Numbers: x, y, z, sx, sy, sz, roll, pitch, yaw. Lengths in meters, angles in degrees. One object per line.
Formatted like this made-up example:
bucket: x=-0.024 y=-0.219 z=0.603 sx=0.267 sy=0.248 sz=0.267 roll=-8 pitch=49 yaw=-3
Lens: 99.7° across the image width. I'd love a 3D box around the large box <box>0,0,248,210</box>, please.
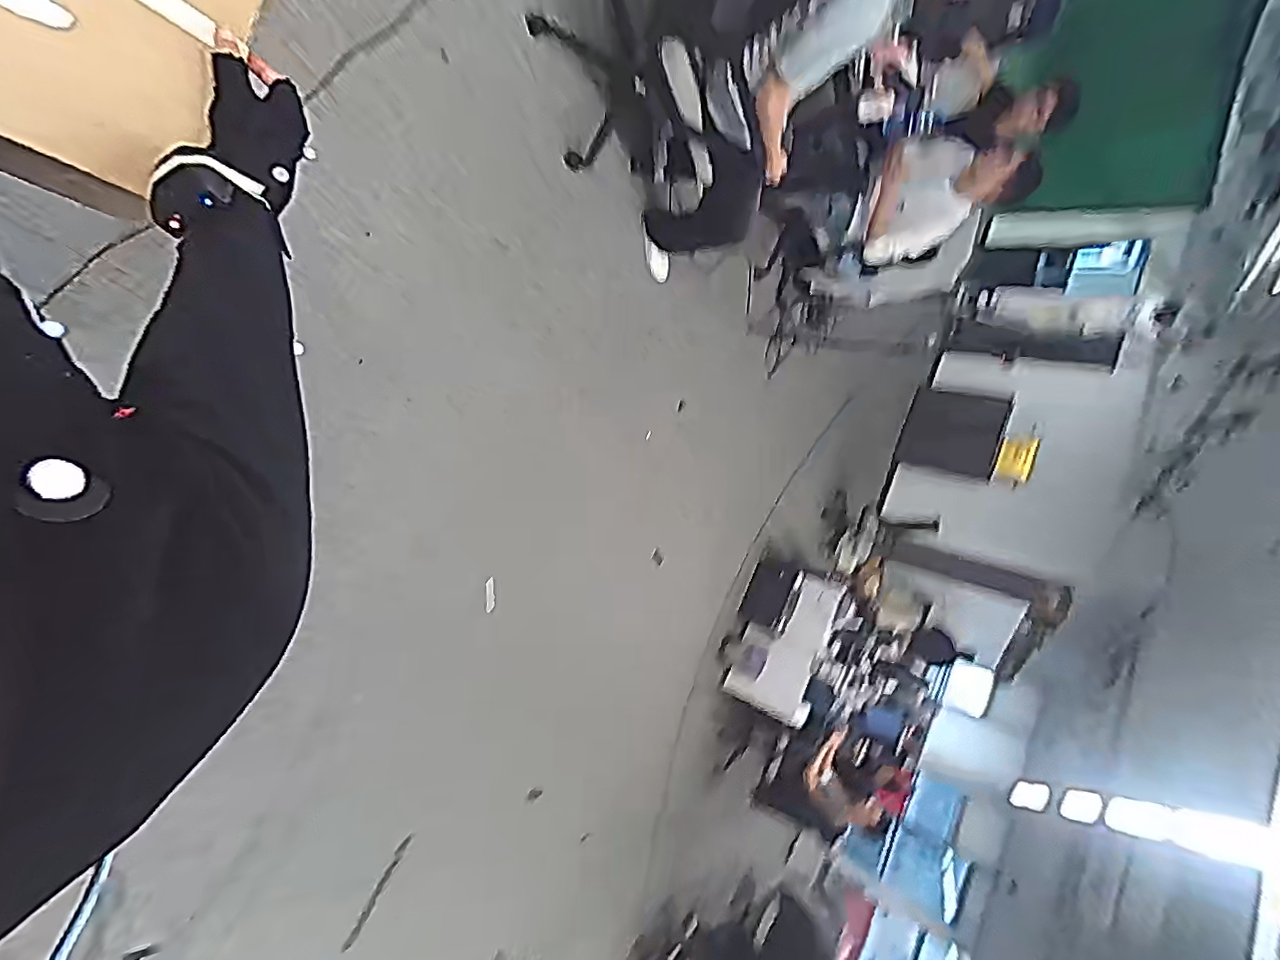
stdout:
large box: x=-0.607 y=-0.468 z=0.431 sx=0.408 sy=0.320 sz=0.320 roll=13 pitch=96 yaw=-54
